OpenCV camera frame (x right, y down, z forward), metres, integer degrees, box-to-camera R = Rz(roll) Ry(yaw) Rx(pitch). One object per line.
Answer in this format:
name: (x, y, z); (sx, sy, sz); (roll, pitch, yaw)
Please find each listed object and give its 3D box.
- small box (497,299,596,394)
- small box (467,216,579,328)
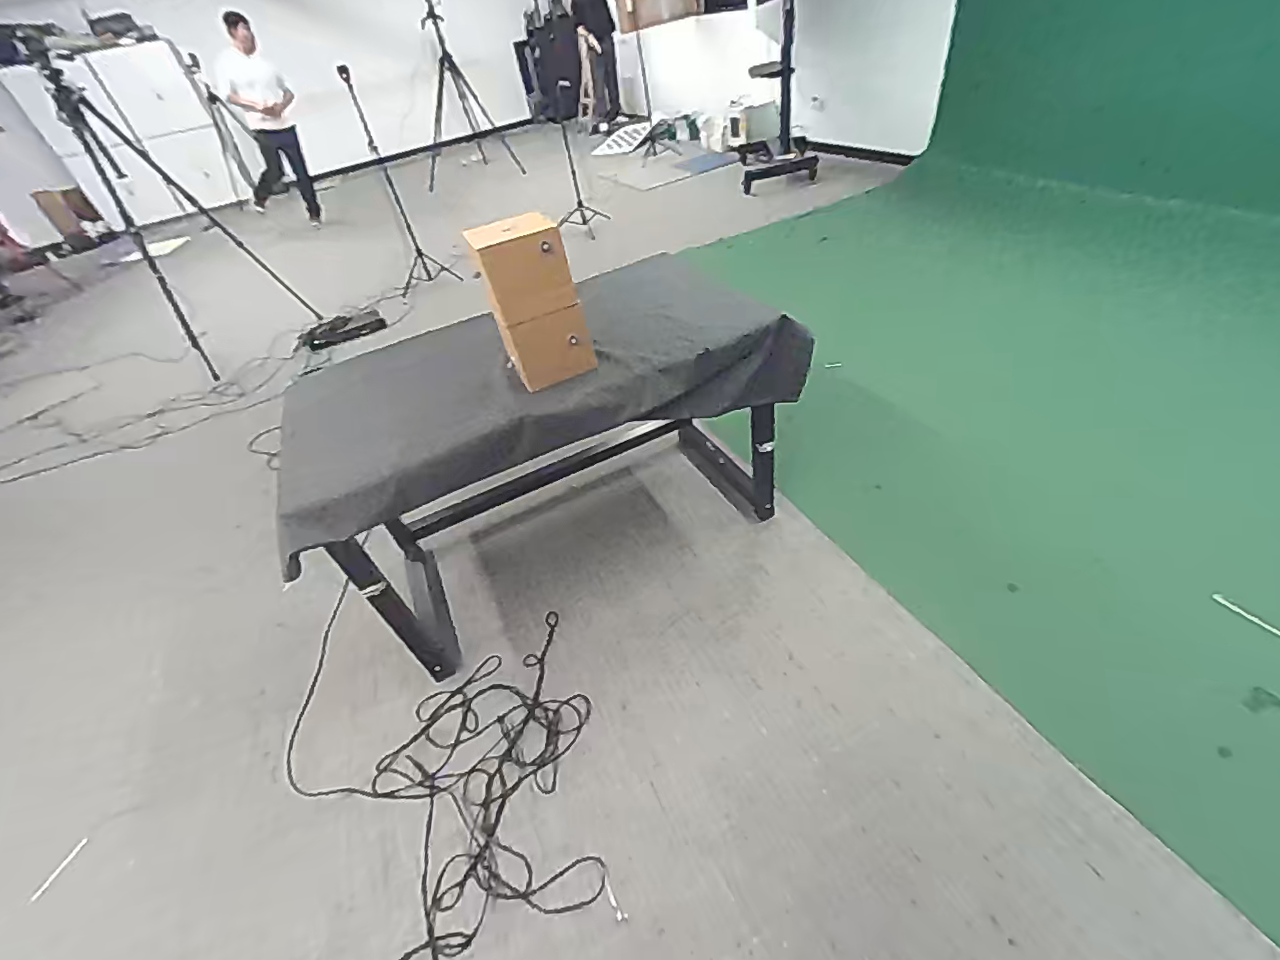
small box: (-0.217, -0.332, 1.283); (0.179, 0.176, 0.168); (-25, 41, -13)
small box: (-0.252, -0.452, 1.179); (0.179, 0.176, 0.168); (-23, 41, -13)
